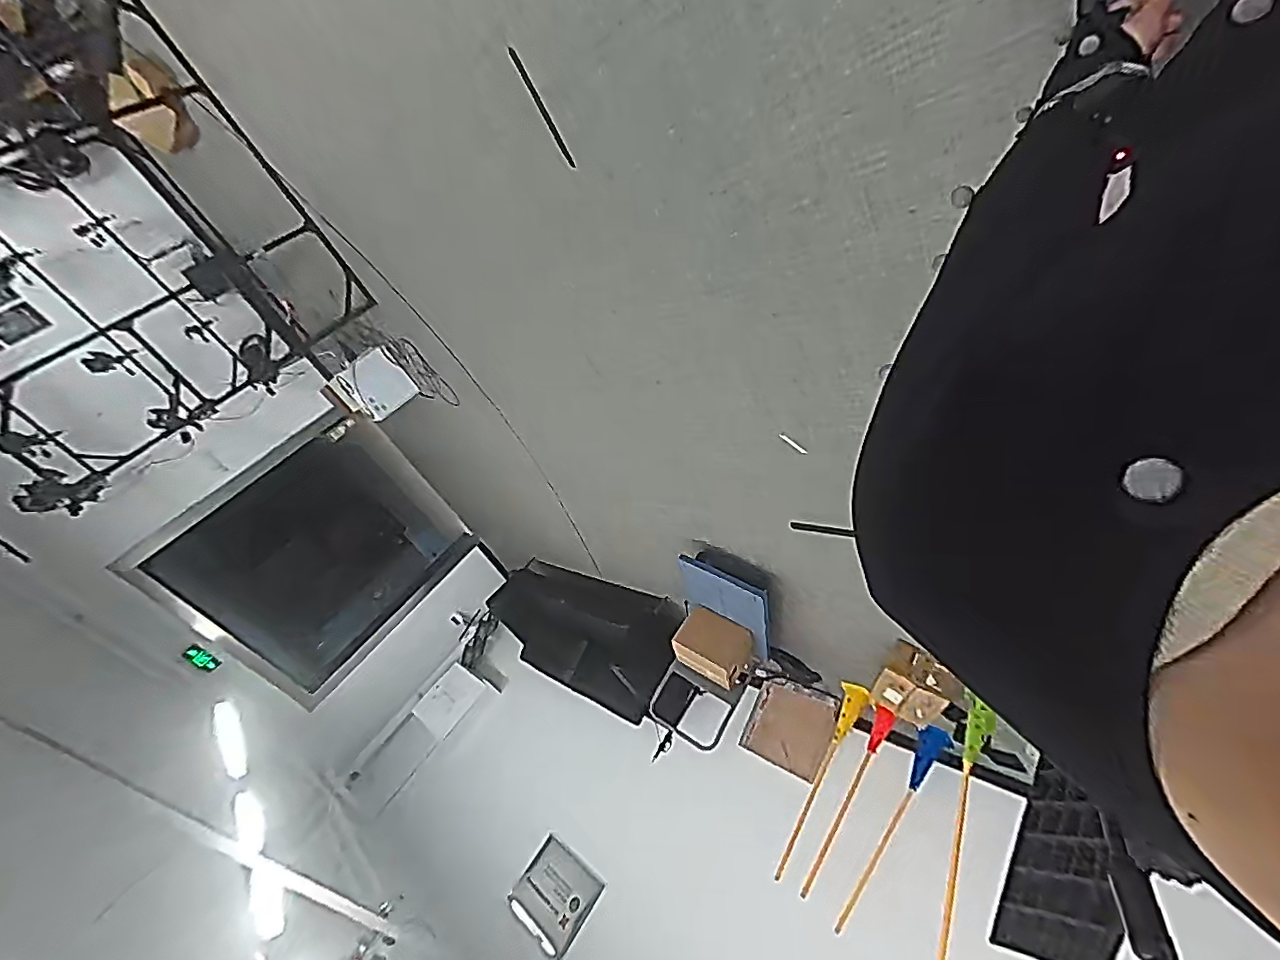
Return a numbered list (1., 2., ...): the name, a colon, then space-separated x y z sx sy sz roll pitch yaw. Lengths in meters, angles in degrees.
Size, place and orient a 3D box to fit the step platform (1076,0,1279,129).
1. step platform: 1.018 -0.737 0.718 0.684 0.204 0.286 11 138 46
